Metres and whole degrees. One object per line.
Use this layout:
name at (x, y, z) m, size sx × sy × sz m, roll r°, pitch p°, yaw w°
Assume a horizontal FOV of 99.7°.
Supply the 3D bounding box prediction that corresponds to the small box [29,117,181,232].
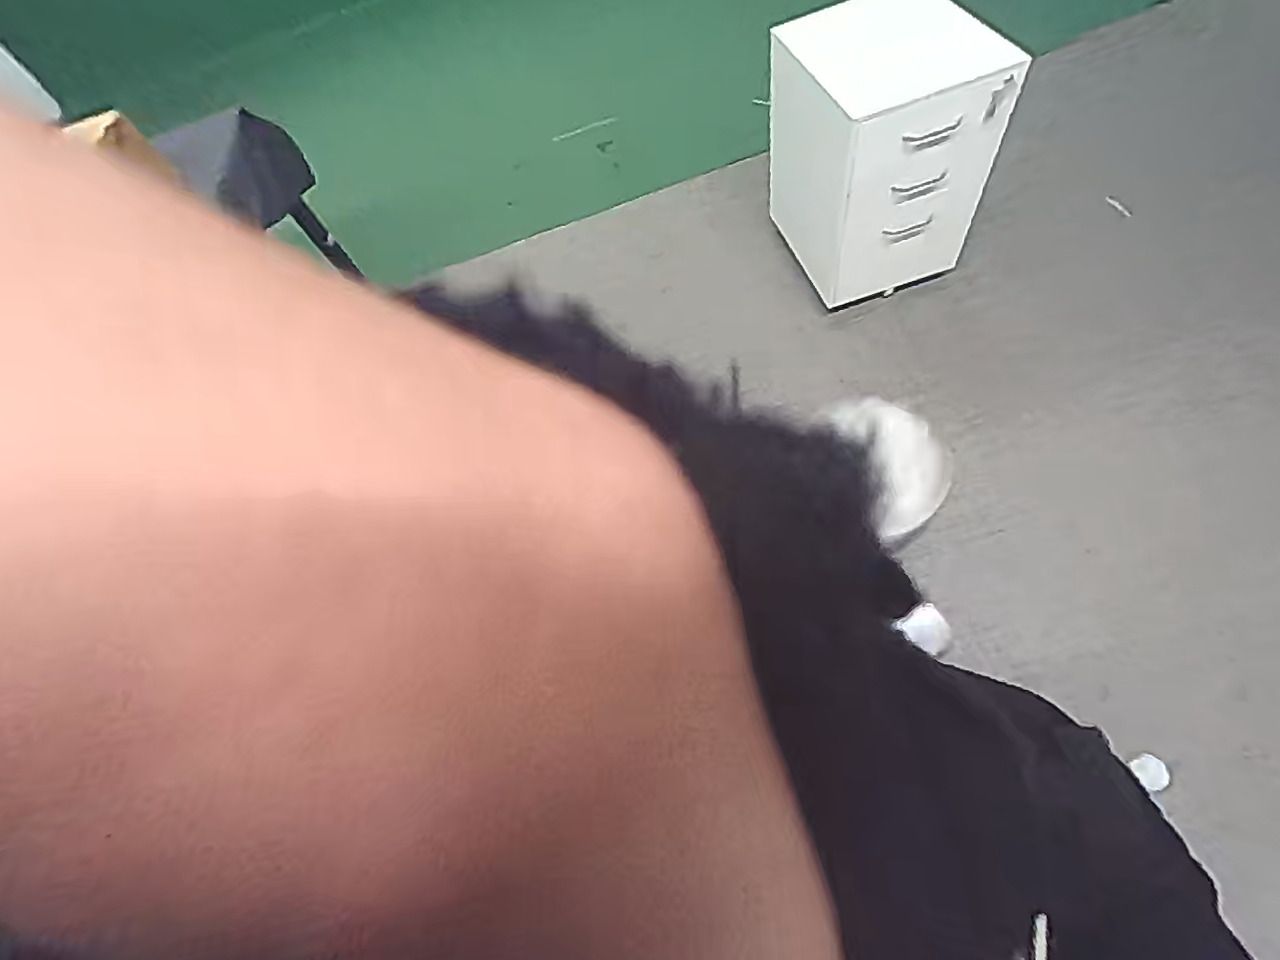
small box at (-1.293, -0.739, 1.322) m, size 0.179 × 0.176 × 0.168 m, roll -14°, pitch 59°, yaw 5°
